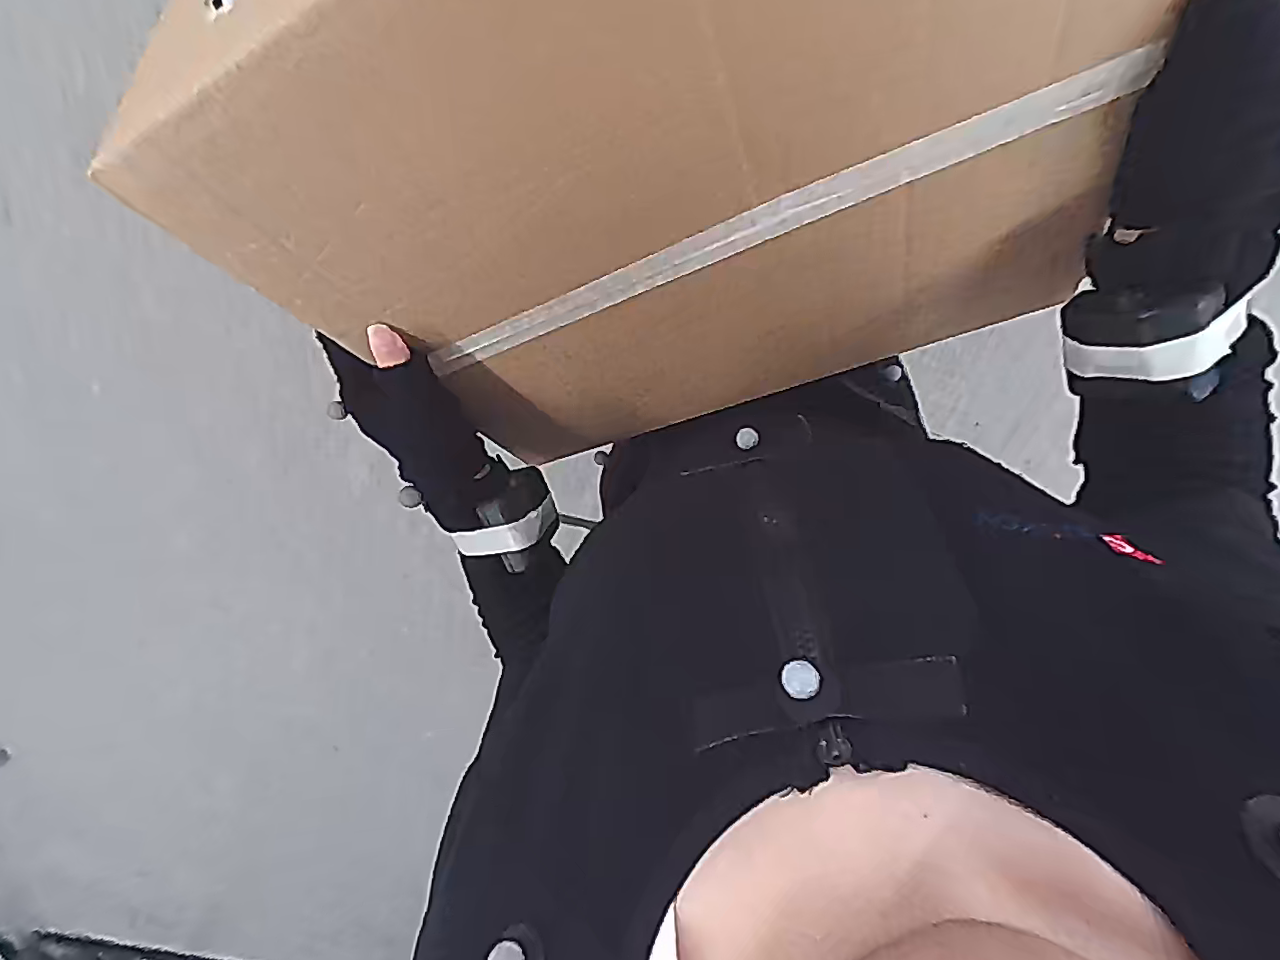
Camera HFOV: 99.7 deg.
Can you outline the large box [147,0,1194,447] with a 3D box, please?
[{"bbox_3d":[0.020,-0.265,0.347,0.408,0.320,0.320,-14,154,18],"label":"large box"}]
